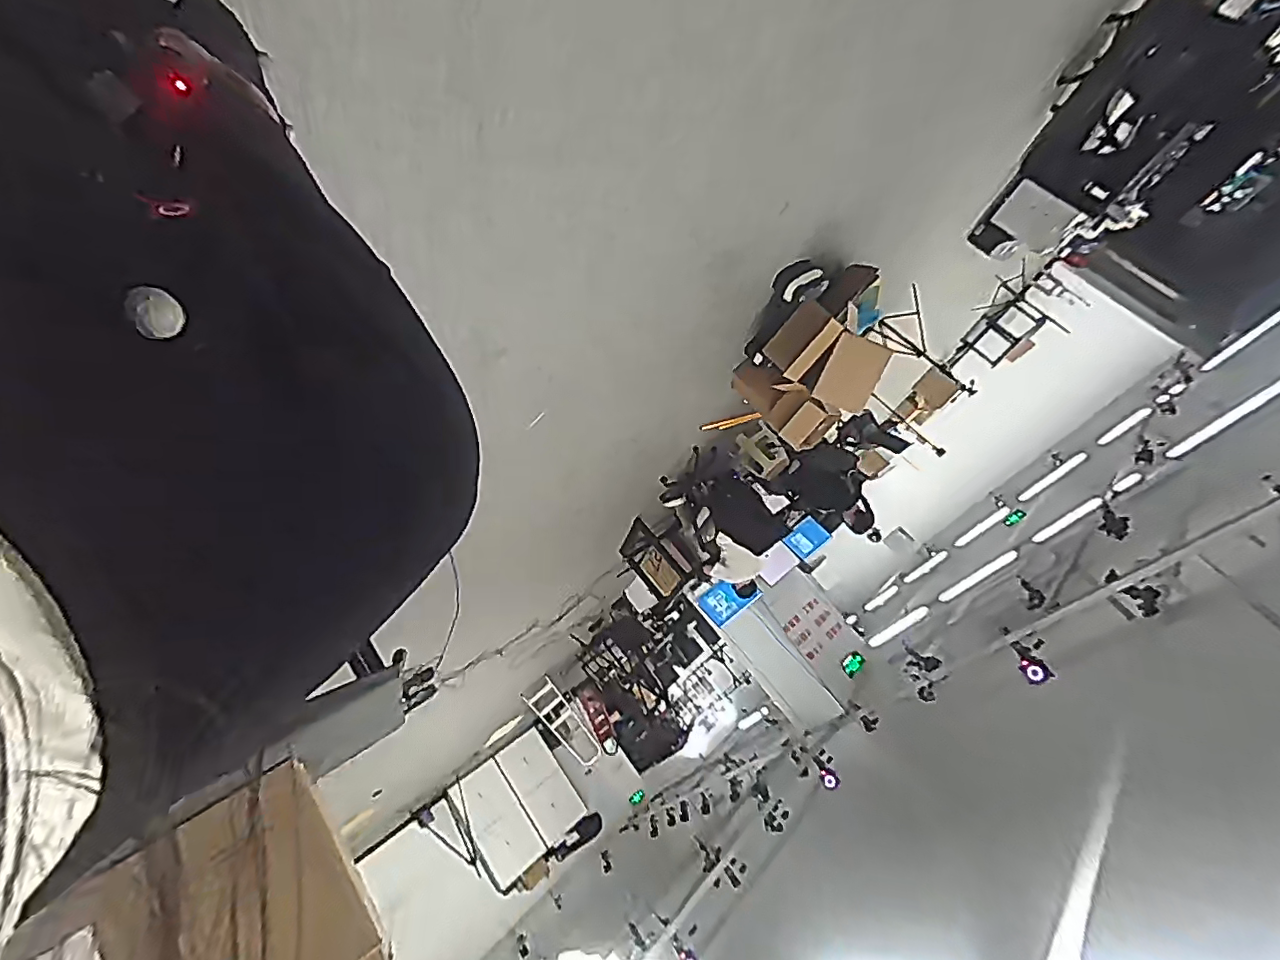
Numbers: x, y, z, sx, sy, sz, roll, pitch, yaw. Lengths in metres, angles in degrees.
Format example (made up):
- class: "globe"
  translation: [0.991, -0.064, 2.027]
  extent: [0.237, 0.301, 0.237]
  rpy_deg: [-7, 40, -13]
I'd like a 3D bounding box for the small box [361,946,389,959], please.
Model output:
- class: "small box"
  translation: [-0.800, 1.499, 1.563]
  extent: [0.168, 0.176, 0.179]
  rpy_deg: [-31, 156, -33]
